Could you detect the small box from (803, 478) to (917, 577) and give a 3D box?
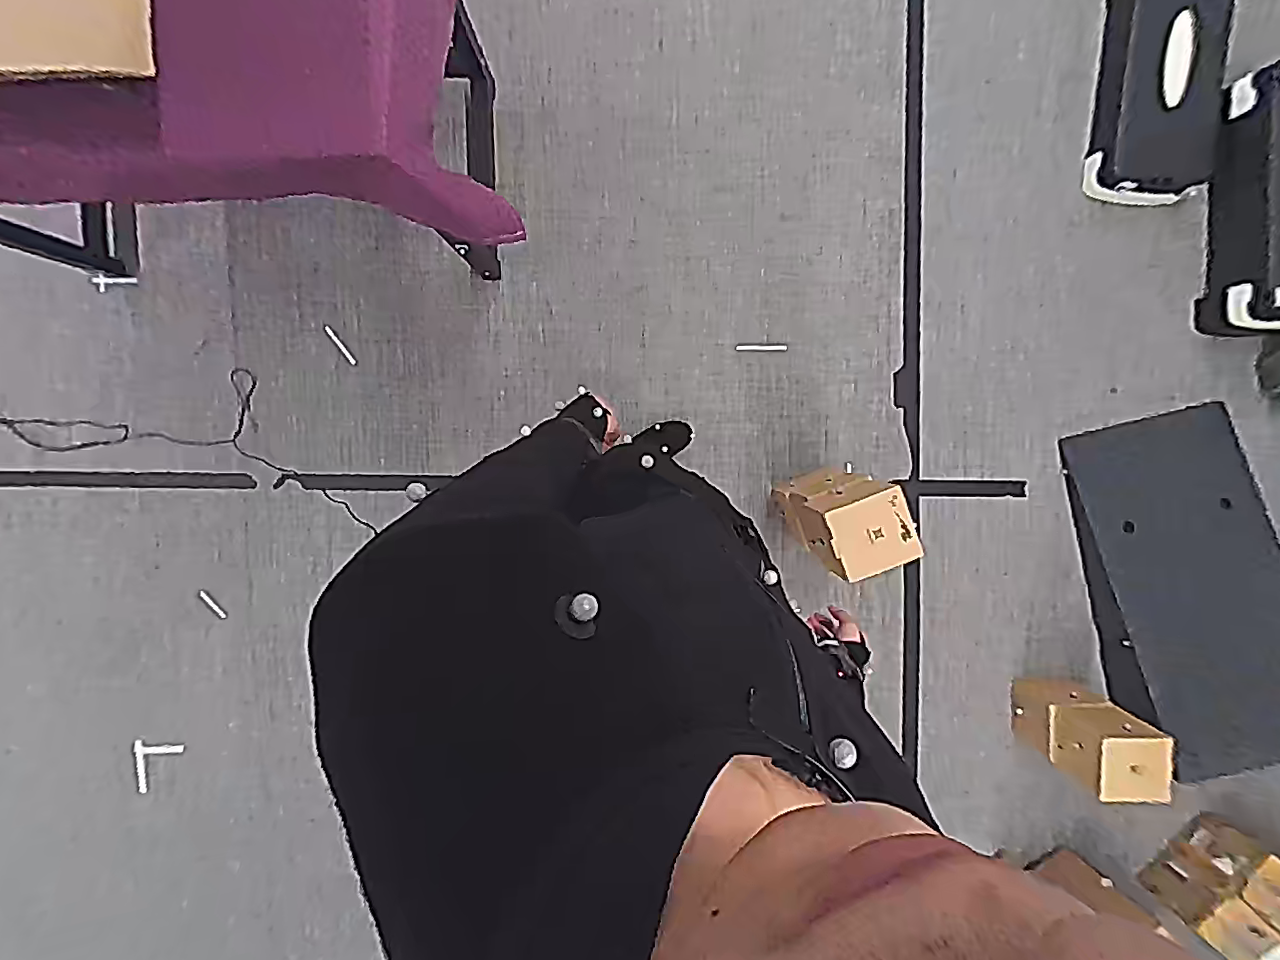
[{"bbox_3d":[0.491,0.102,1.242,0.179,0.176,0.168,-21,94,2],"label":"small box"}]
